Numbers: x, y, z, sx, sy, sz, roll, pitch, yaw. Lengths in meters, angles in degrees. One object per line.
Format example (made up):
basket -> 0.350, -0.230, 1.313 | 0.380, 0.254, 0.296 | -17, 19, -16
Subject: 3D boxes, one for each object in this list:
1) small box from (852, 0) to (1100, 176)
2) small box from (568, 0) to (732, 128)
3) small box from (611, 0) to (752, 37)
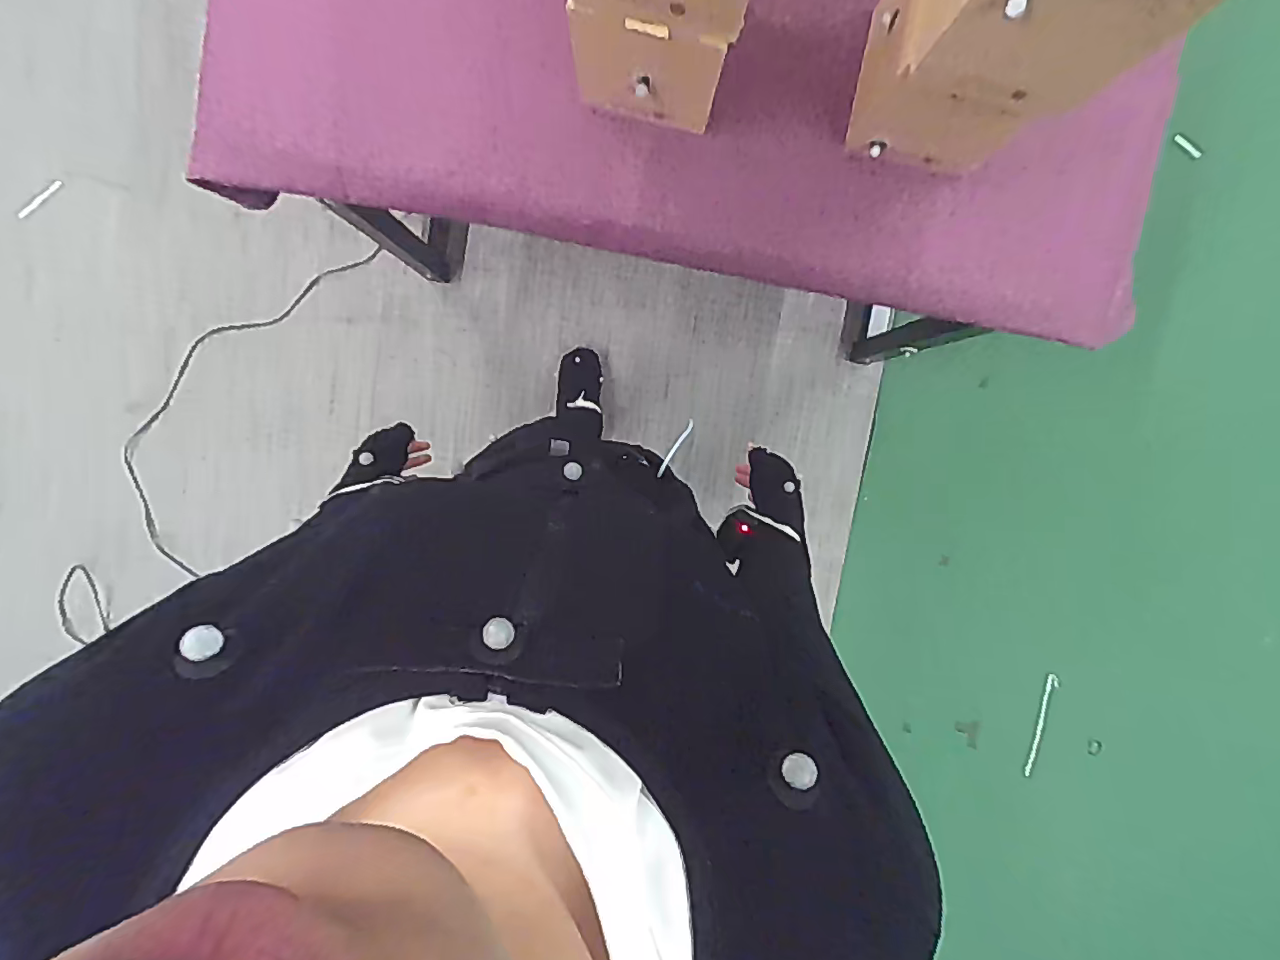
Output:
small box -> 0.364, -0.480, 0.610 | 0.168, 0.176, 0.179 | 14, 96, -5
small box -> 0.027, -0.533, 0.597 | 0.168, 0.176, 0.179 | 13, 96, -3
small box -> 0.038, -0.515, 0.435 | 0.168, 0.176, 0.179 | 13, 96, -3
